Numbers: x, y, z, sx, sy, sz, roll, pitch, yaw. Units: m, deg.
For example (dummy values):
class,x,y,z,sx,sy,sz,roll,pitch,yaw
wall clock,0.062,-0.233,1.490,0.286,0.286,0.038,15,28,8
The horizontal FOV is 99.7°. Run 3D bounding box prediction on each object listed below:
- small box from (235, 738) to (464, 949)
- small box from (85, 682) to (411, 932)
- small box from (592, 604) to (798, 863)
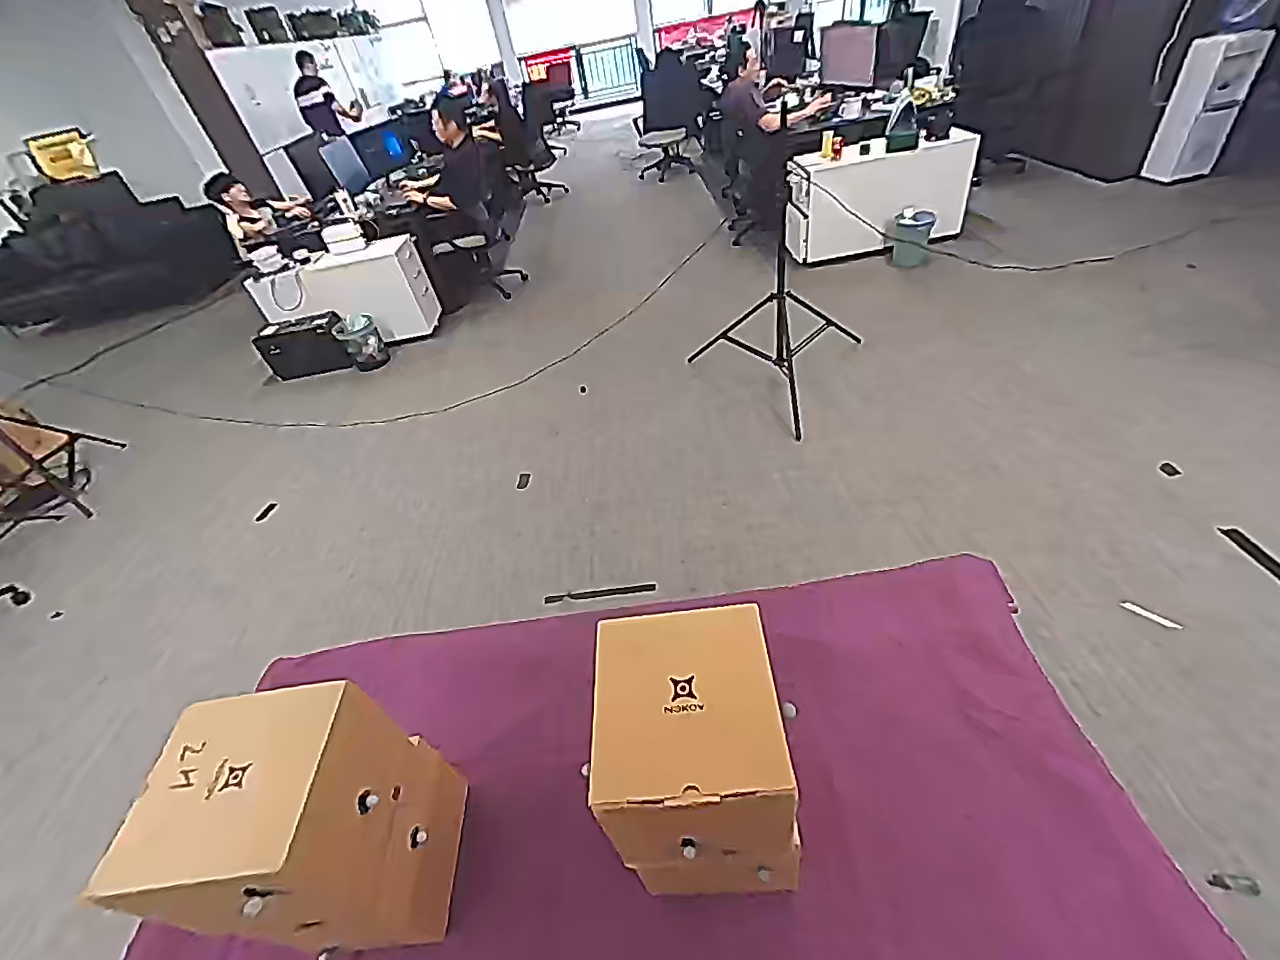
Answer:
class,x,y,z,sx,sy,sz,roll,pitch,yaw
small box,-0.332,0.447,0.661,0.168,0.176,0.179,-9,41,3
small box,-0.361,0.331,0.547,0.179,0.176,0.168,-10,41,3
small box,0.052,0.251,0.538,0.168,0.176,0.179,-8,41,5
